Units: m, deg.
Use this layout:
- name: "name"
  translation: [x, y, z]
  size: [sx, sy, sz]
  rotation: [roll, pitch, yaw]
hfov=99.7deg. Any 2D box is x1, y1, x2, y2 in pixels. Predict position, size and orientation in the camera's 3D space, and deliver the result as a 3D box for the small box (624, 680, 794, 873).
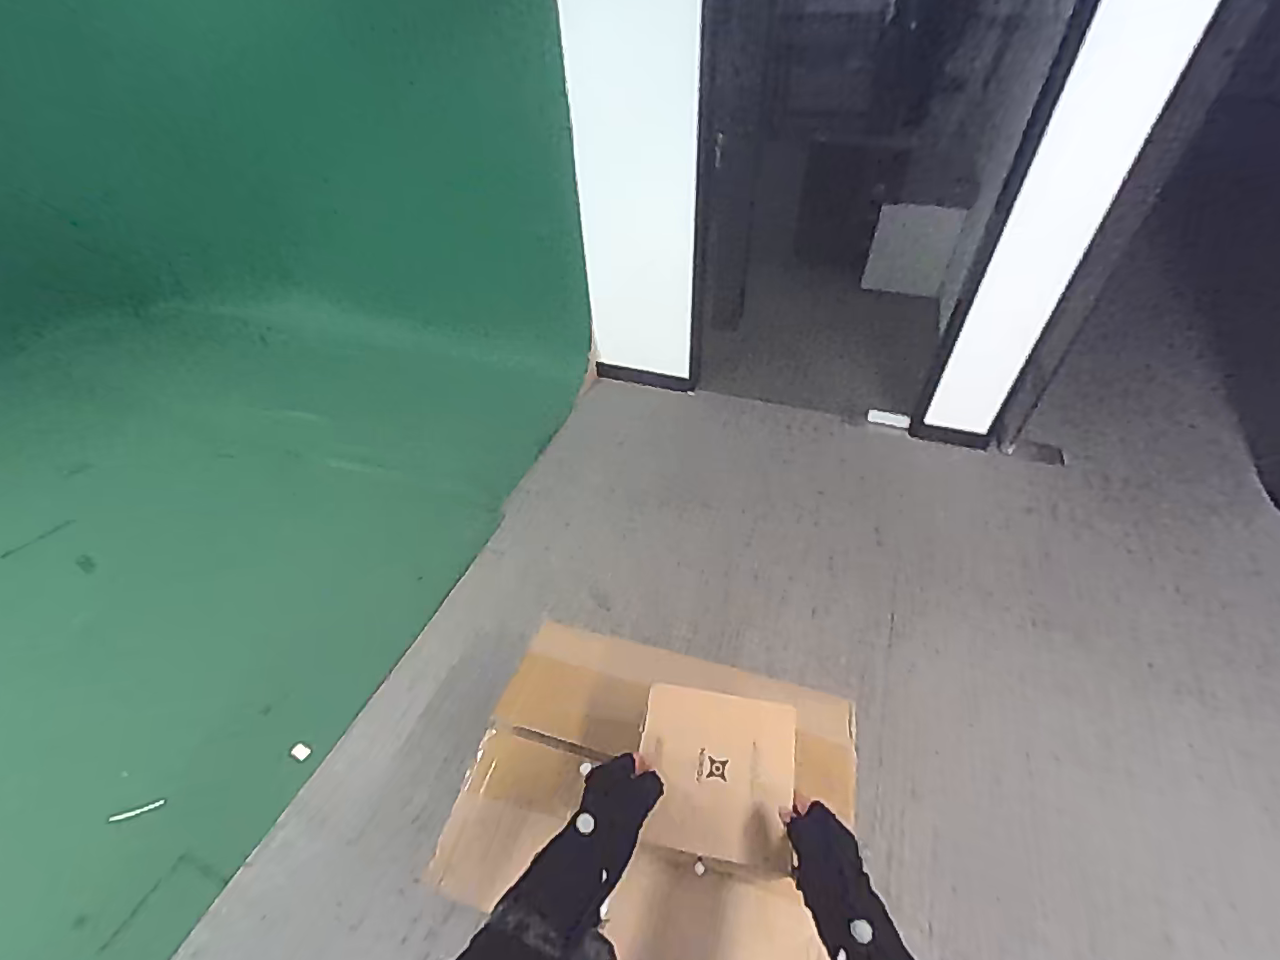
- name: "small box"
  translation: [0.086, 0.367, 0.665]
  size: [0.179, 0.176, 0.168]
  rotation: [7, 53, 8]
